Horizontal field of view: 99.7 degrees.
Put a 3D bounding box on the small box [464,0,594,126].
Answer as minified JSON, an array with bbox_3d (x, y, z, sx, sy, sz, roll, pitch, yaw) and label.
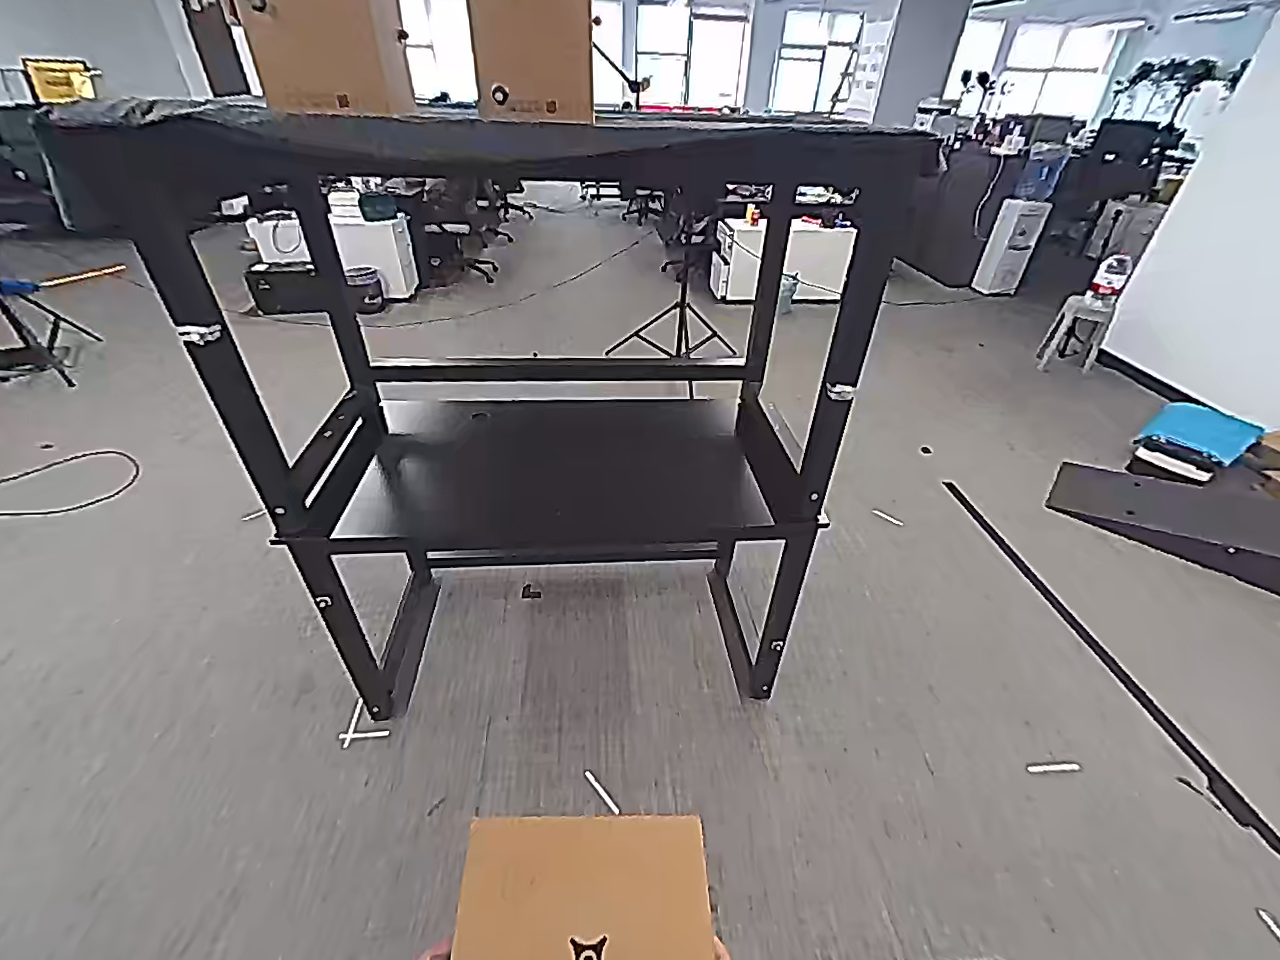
[{"bbox_3d":[-0.154,-0.629,0.804,0.168,0.176,0.179,-1,34,-5],"label":"small box"}]

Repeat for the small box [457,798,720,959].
[{"bbox_3d":[-0.042,0.351,0.388,0.168,0.176,0.179,4,45,-7],"label":"small box"}]
